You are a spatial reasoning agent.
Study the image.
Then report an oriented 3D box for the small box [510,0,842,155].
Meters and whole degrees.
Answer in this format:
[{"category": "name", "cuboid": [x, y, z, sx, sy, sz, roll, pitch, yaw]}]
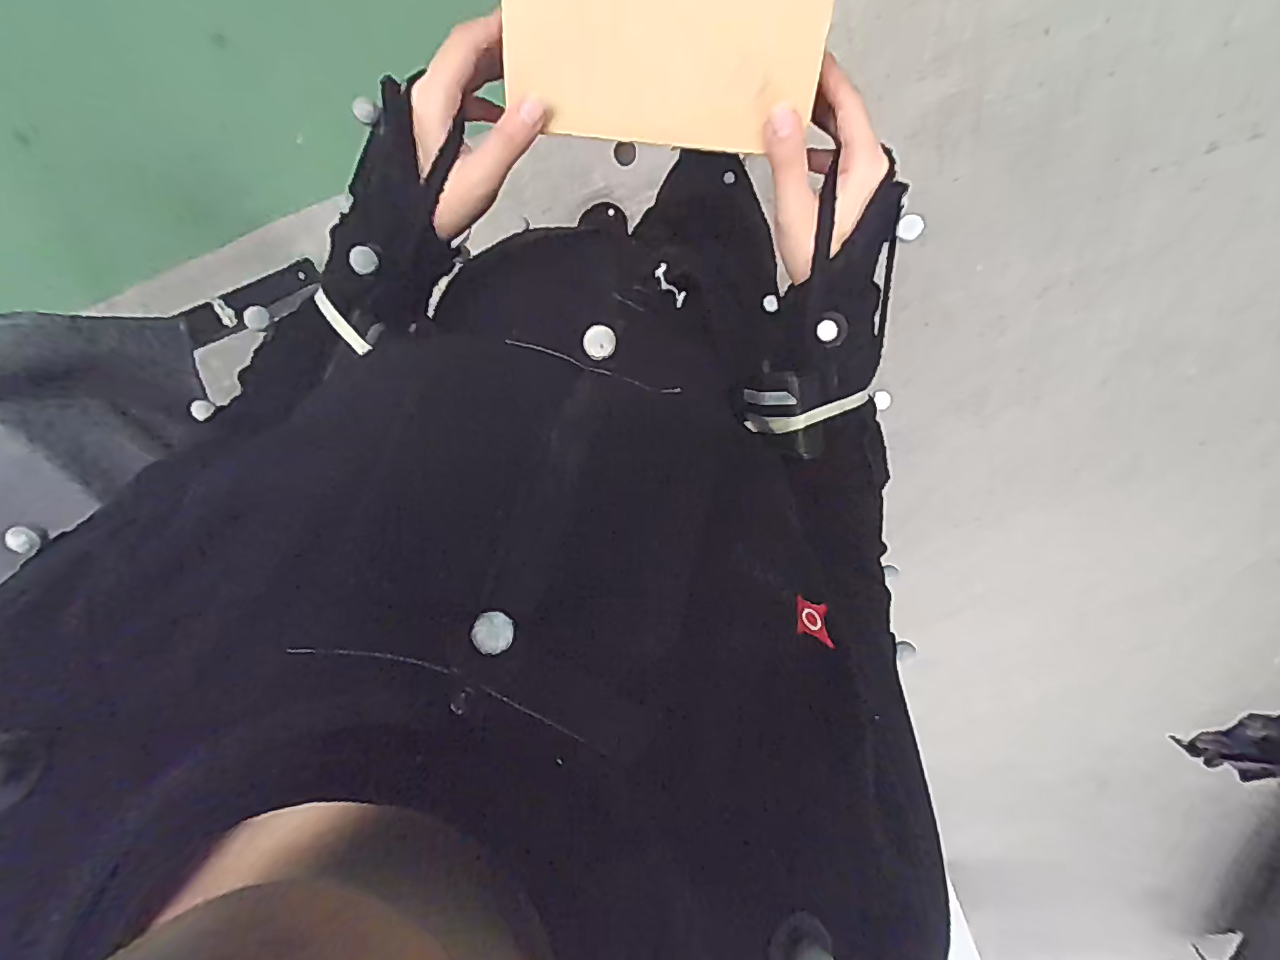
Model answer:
[{"category": "small box", "cuboid": [0.025, -0.302, 0.315, 0.168, 0.176, 0.179, 6, 123, 0]}]
